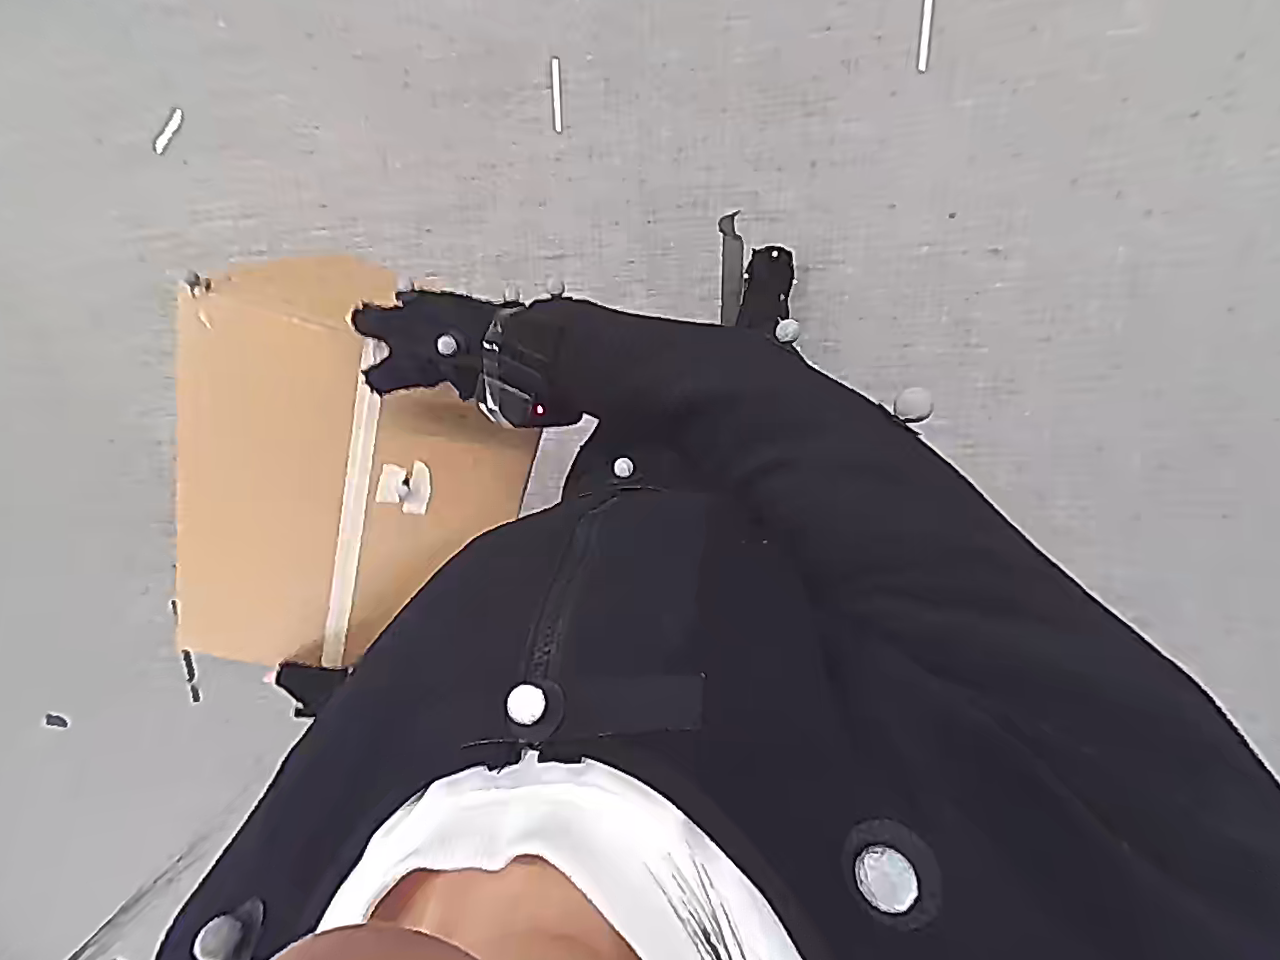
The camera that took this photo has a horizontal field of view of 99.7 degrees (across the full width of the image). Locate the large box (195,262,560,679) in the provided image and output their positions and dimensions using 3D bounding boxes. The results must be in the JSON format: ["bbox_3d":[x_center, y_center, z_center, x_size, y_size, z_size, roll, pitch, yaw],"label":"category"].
[{"bbox_3d":[-0.304,-0.025,0.695,0.320,0.320,0.408,14,112,-13],"label":"large box"}]
